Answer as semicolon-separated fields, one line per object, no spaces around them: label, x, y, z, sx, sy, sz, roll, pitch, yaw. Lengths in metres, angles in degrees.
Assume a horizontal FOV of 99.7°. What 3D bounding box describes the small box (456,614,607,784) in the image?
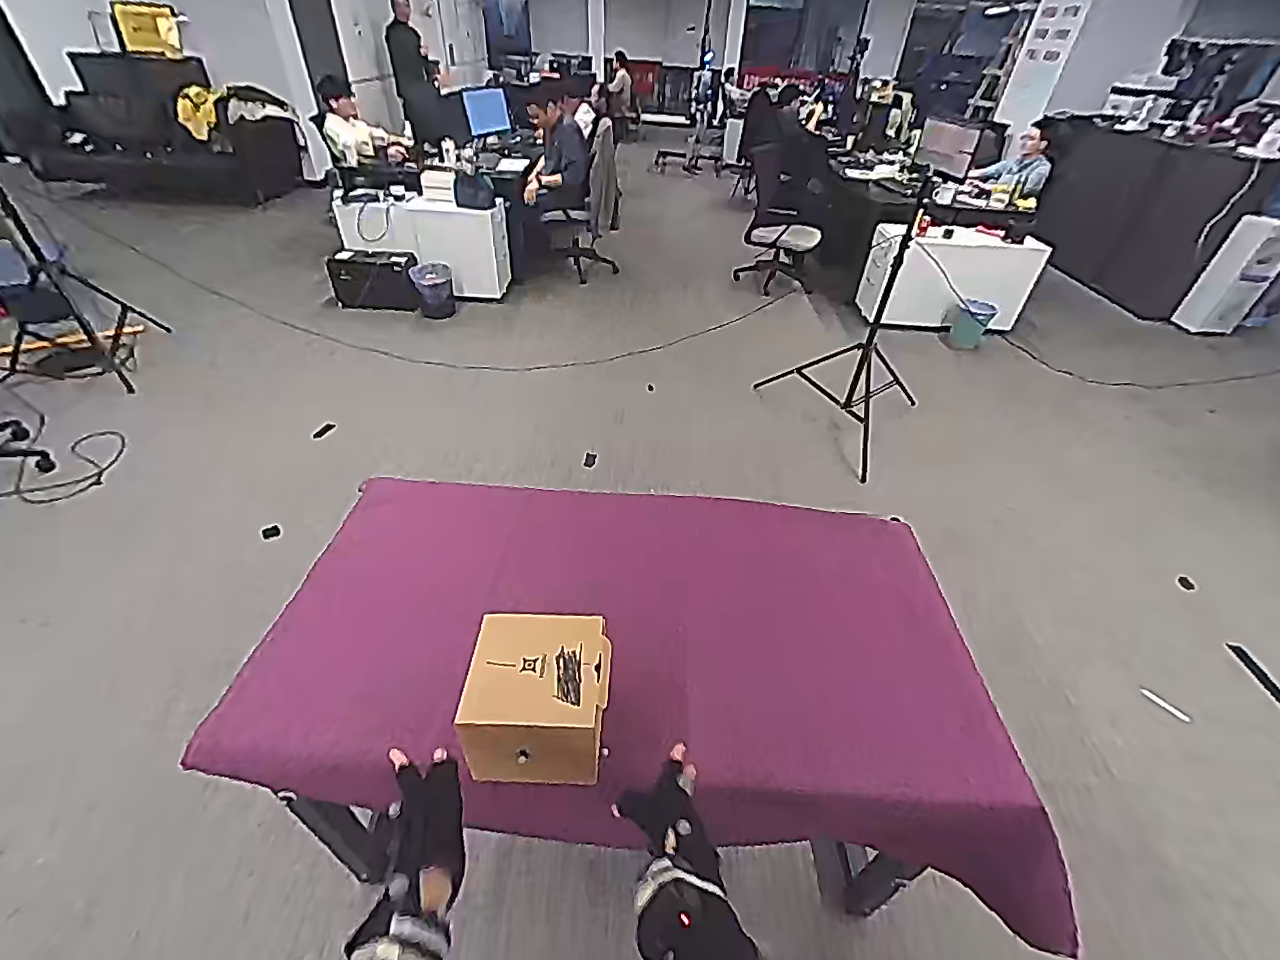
small box;-0.140;0.313;0.772;0.179;0.176;0.168;2;38;0
